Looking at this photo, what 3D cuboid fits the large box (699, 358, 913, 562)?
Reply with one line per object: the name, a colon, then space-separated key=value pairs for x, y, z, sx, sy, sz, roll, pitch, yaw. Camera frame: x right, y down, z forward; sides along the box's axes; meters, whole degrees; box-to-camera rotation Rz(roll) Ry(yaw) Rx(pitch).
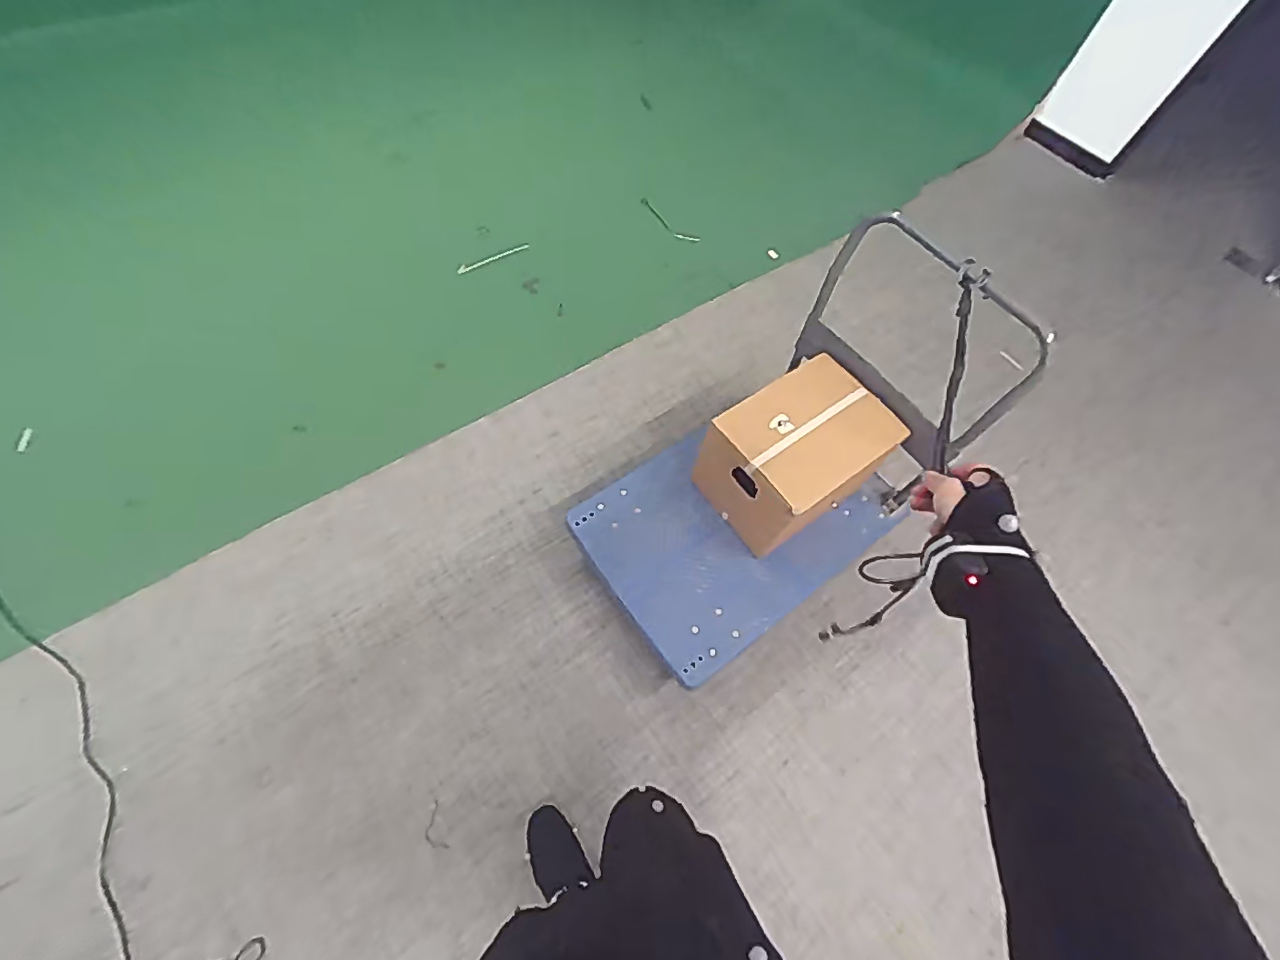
large box: x=0.422 y=-0.046 z=1.450 sx=0.408 sy=0.320 sz=0.320 roll=-32 pitch=69 yaw=-18
